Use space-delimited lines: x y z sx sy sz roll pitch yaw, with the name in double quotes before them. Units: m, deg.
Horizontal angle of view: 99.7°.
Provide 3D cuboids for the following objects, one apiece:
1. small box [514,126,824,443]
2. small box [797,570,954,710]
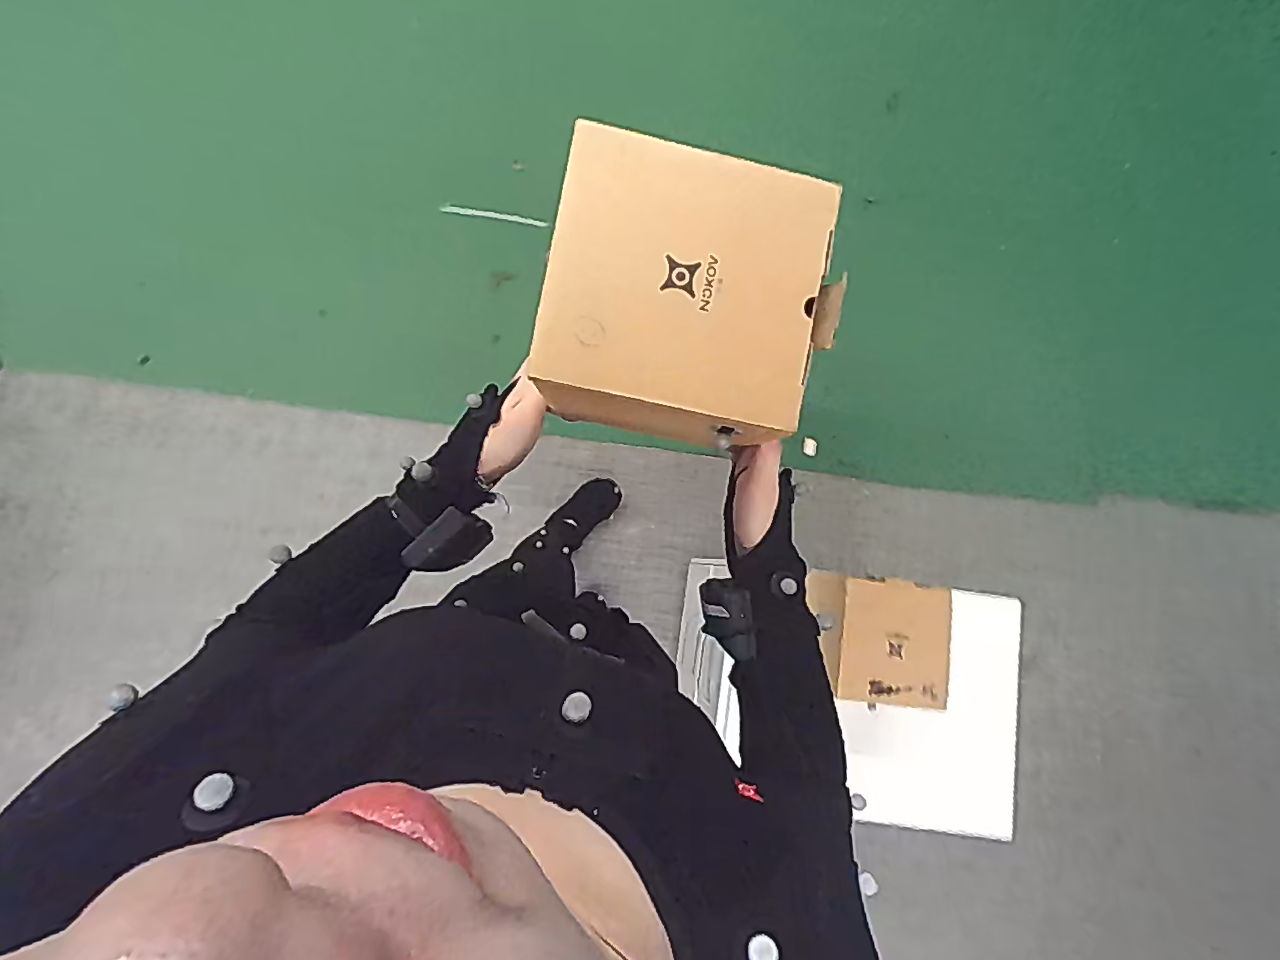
"small box" 0.014 -0.125 0.419 0.179 0.176 0.168 10 89 -5
"small box" 0.361 0.240 0.854 0.168 0.176 0.179 9 82 -3
